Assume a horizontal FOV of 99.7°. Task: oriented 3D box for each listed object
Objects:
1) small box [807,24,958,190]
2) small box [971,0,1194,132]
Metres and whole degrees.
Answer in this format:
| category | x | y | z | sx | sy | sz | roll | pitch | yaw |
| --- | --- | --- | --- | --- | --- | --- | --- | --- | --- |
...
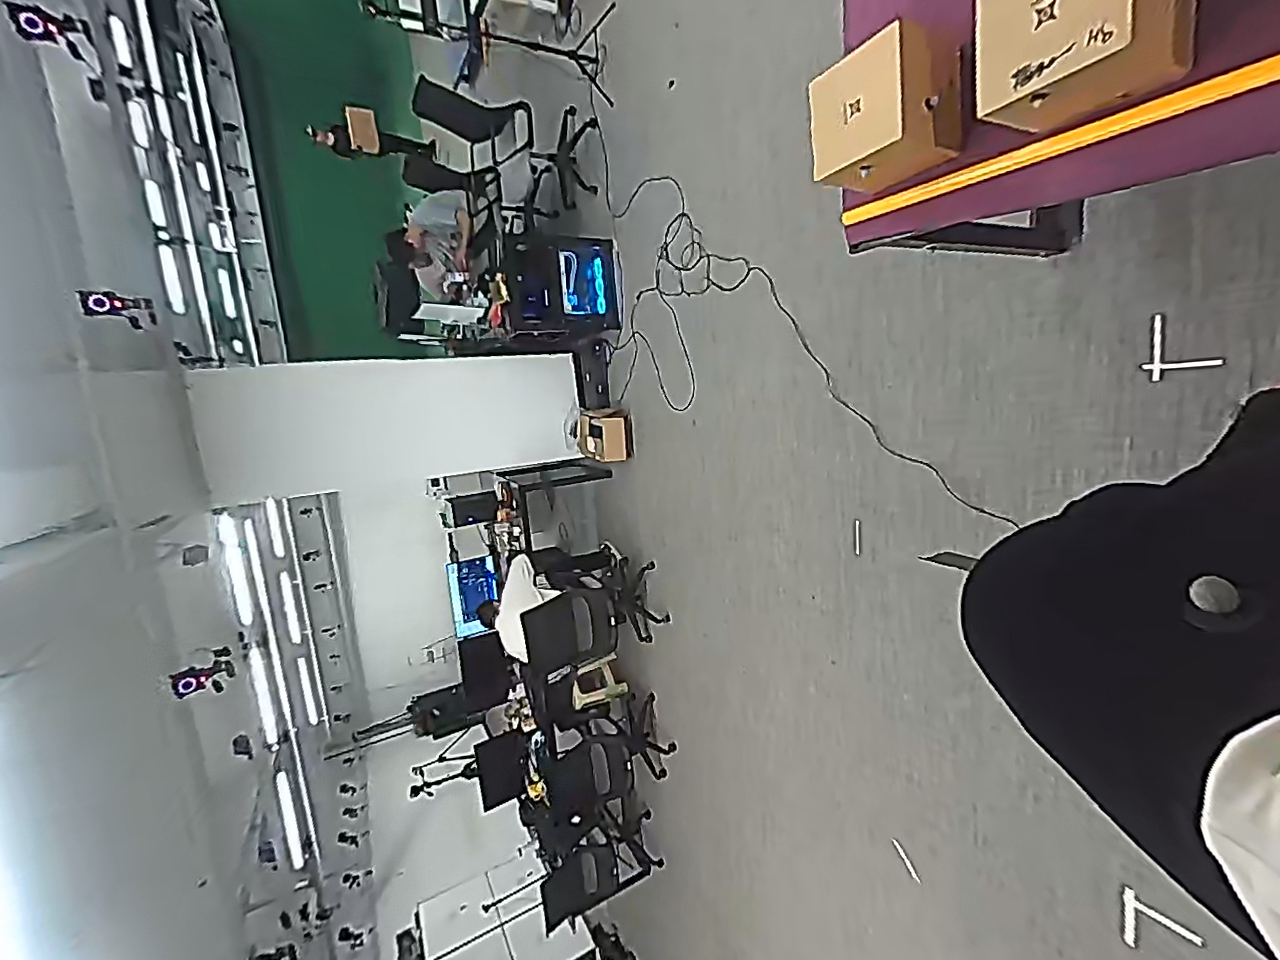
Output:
| category | x | y | z | sx | sy | sz | roll | pitch | yaw |
| --- | --- | --- | --- | --- | --- | --- | --- | --- | --- |
| small box | 0.412 | -0.613 | 0.915 | 0.179 | 0.176 | 0.168 | 9 | 106 | 61 |
| small box | 0.545 | -0.569 | 0.671 | 0.168 | 0.176 | 0.179 | 14 | 110 | 62 |
